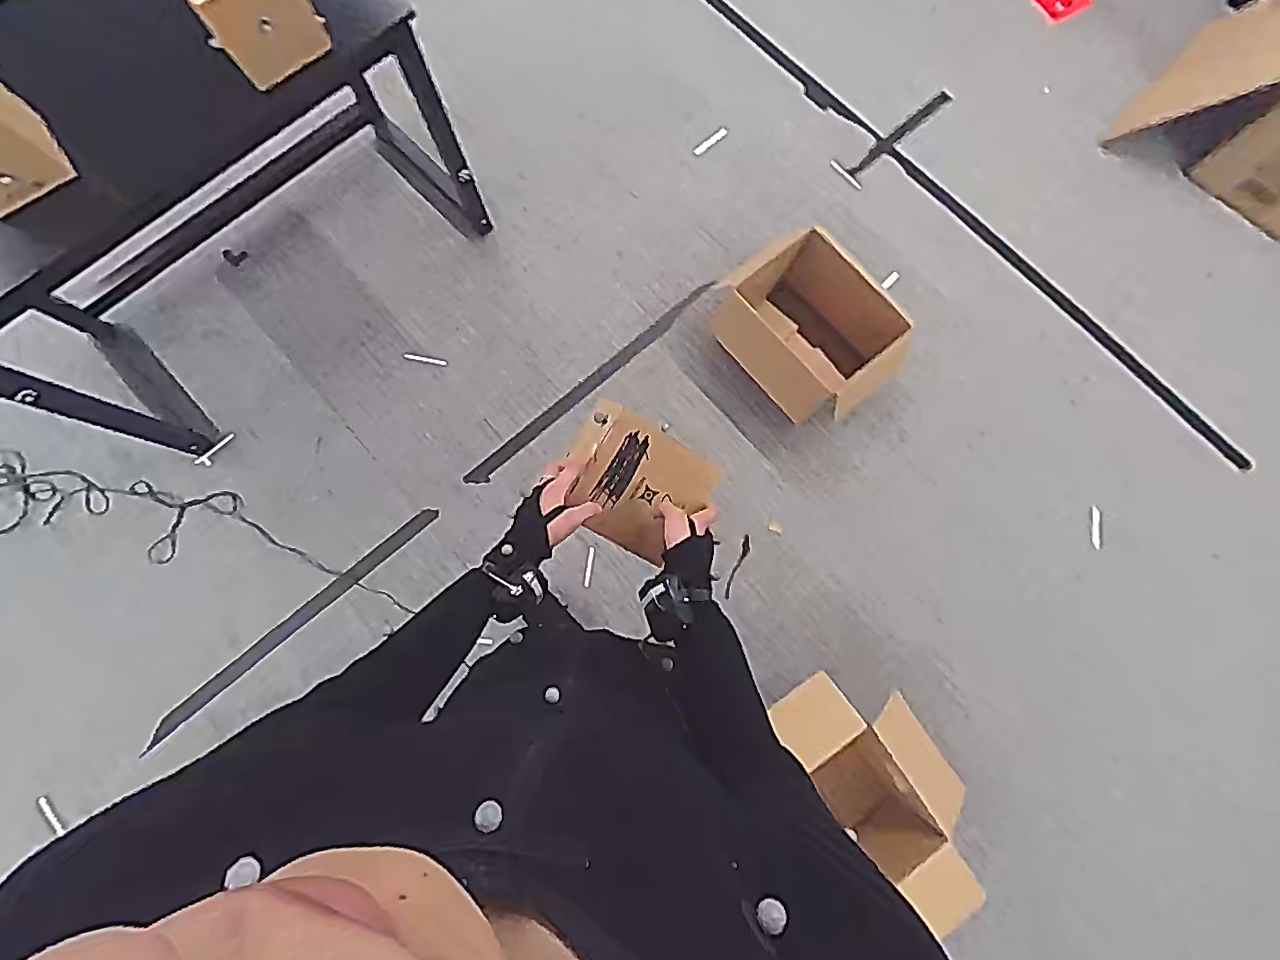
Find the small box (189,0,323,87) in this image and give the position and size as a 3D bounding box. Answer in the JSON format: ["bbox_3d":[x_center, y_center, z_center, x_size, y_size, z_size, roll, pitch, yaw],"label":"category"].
[{"bbox_3d":[-0.743,-0.910,1.025,0.179,0.176,0.168,-40,82,-6],"label":"small box"}]

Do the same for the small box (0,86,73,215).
[{"bbox_3d":[-1.201,-0.623,0.967,0.168,0.176,0.179,-36,82,-7],"label":"small box"}]
